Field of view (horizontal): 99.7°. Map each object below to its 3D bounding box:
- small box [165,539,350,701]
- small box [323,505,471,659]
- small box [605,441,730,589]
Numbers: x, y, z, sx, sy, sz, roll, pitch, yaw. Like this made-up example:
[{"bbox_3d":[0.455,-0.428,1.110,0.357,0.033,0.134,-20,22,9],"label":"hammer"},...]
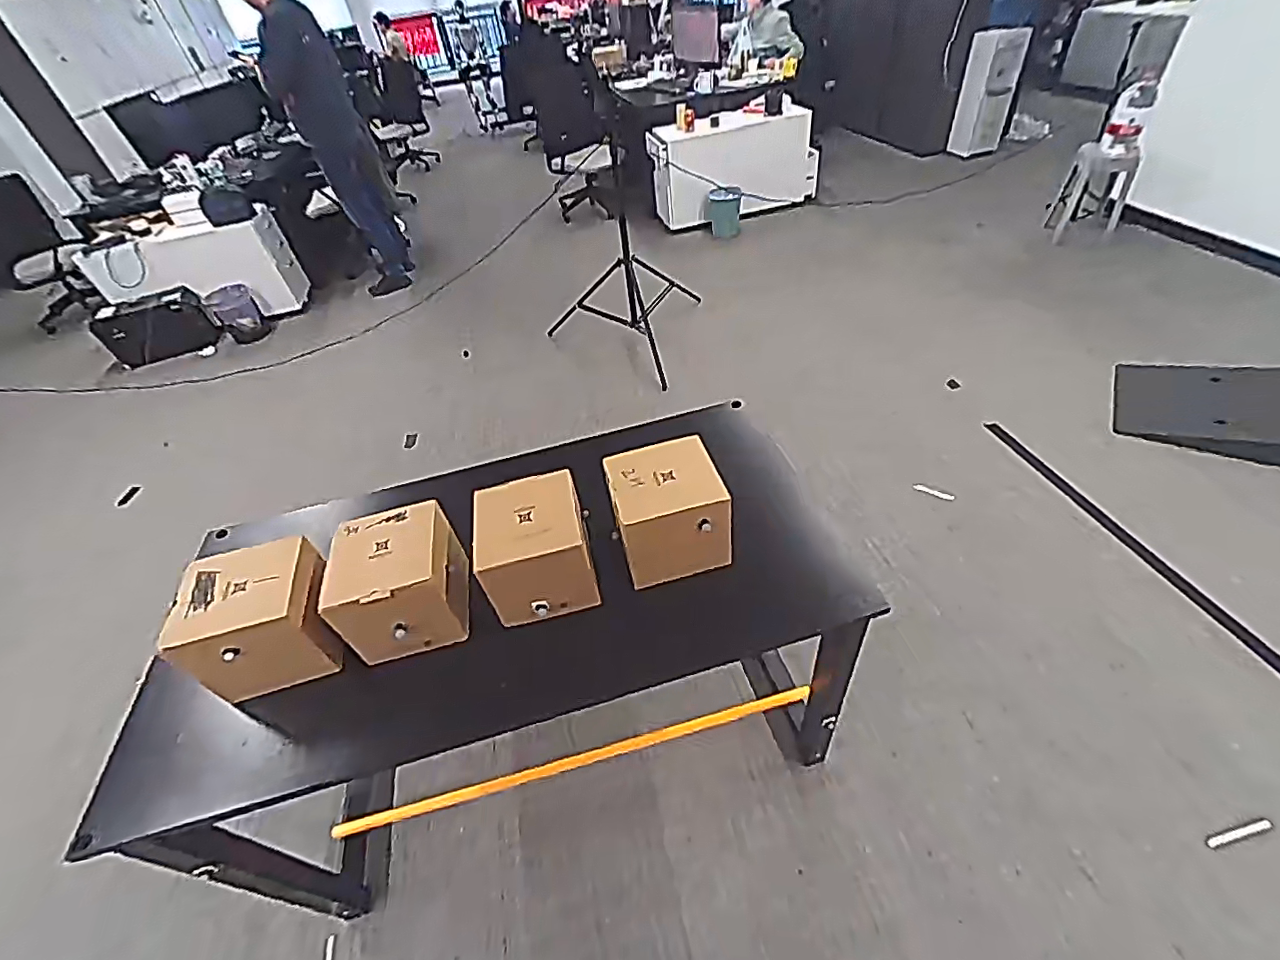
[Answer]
[{"bbox_3d":[-0.596,0.230,0.878,0.179,0.176,0.168,-15,44,-8],"label":"small box"},{"bbox_3d":[-0.389,0.176,0.901,0.168,0.176,0.179,-14,44,-5],"label":"small box"},{"bbox_3d":[0.047,0.062,0.942,0.179,0.176,0.168,-14,43,-5],"label":"small box"}]
